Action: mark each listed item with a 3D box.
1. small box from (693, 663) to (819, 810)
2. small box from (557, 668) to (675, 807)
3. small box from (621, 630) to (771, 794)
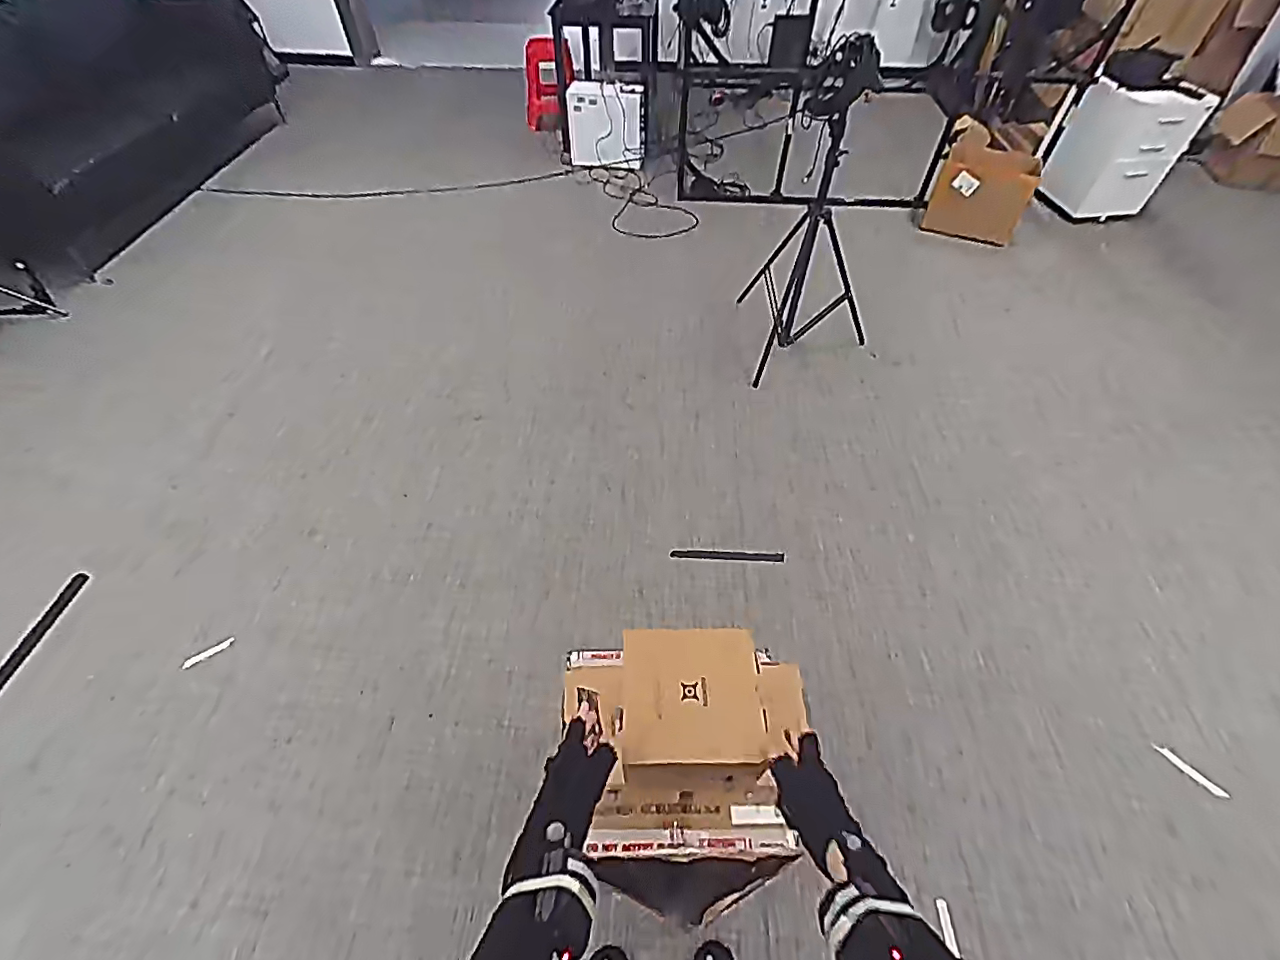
[{"bbox_3d":[0.167,0.410,0.865,0.168,0.176,0.179,1,50,-1],"label":"small box"},{"bbox_3d":[-0.030,0.412,0.862,0.179,0.176,0.168,-3,51,-1],"label":"small box"},{"bbox_3d":[0.063,0.315,0.730,0.179,0.176,0.168,-1,50,-1],"label":"small box"}]
